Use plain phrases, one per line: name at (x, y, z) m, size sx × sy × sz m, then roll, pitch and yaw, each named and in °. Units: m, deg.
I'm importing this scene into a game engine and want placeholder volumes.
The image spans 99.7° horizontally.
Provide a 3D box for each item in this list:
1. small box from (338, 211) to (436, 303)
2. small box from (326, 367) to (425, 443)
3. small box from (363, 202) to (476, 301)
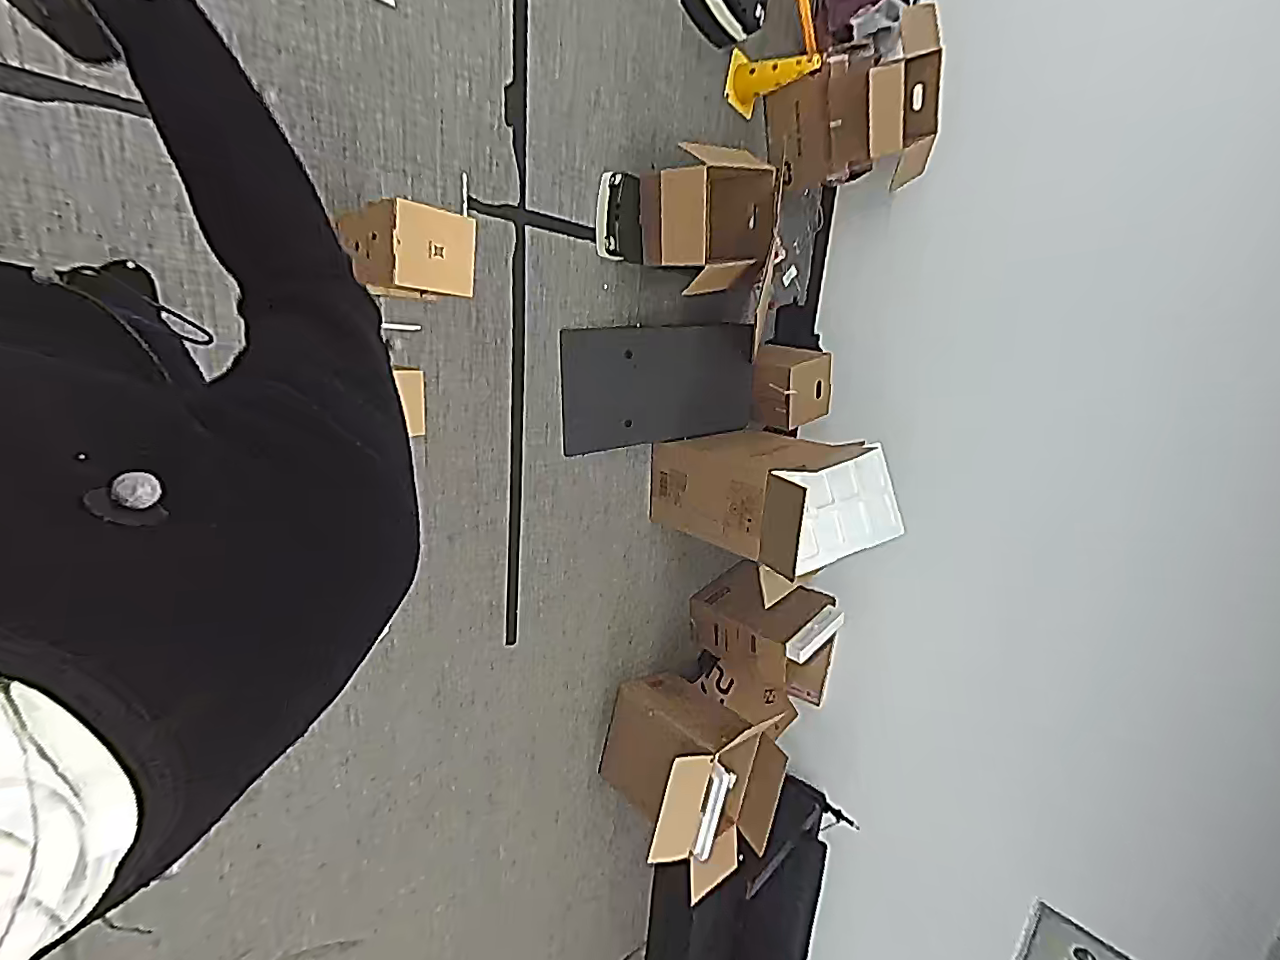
small box at (-0.602, -0.523, 1.286) m, size 0.168 × 0.176 × 0.179 m, roll -10°, pitch 113°, yaw -45°
small box at (-0.659, -0.193, 1.350) m, size 0.179 × 0.176 × 0.168 m, roll -11°, pitch 111°, yaw -44°
small box at (-0.482, -0.493, 1.180) m, size 0.179 × 0.176 × 0.168 m, roll -7°, pitch 110°, yaw -45°
